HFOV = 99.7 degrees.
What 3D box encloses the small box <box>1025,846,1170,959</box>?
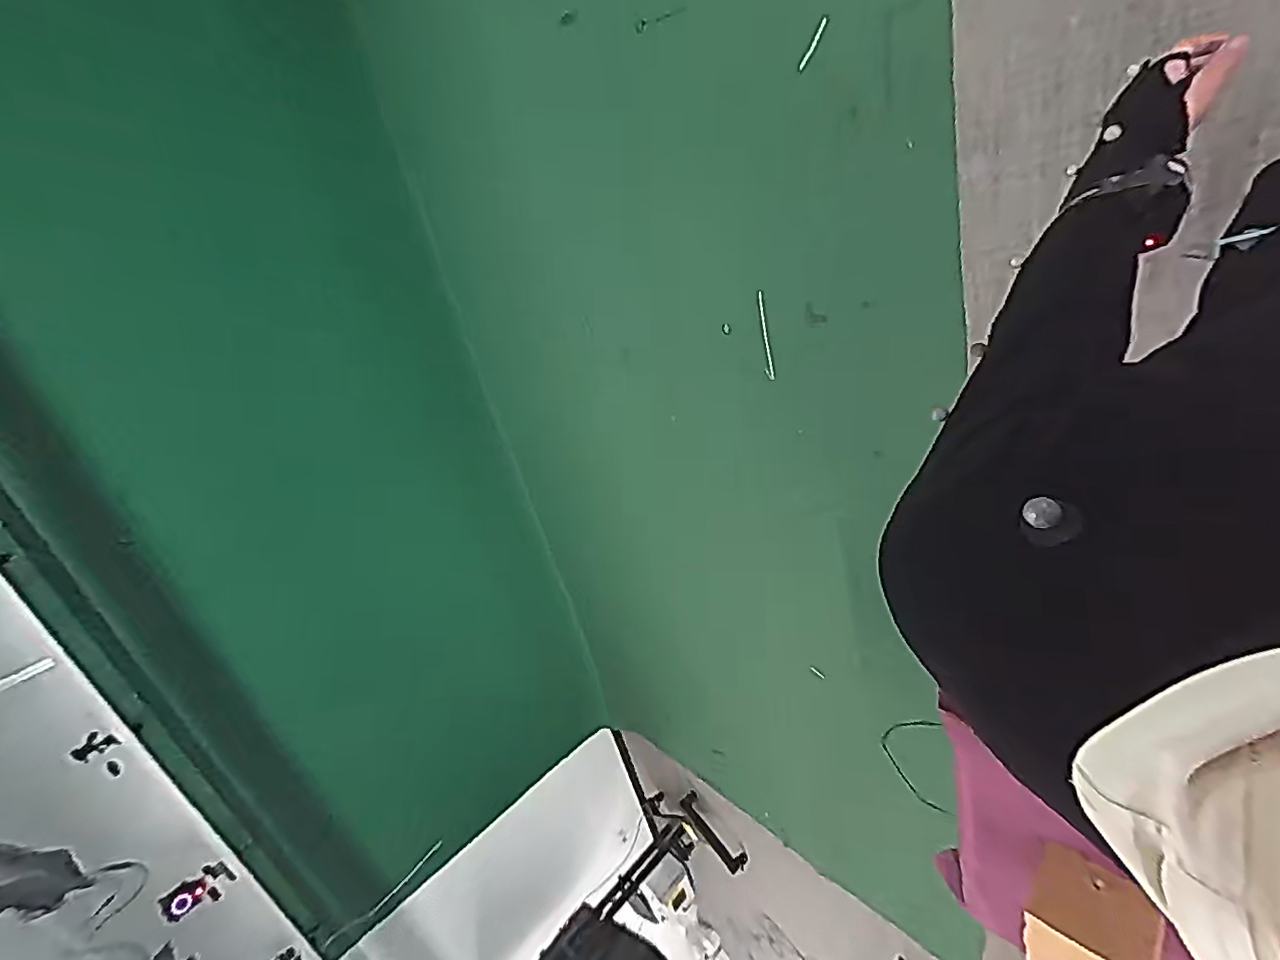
[{"bbox_3d":[0.859,0.843,1.022,0.179,0.176,0.168,10,123,49],"label":"small box"}]
